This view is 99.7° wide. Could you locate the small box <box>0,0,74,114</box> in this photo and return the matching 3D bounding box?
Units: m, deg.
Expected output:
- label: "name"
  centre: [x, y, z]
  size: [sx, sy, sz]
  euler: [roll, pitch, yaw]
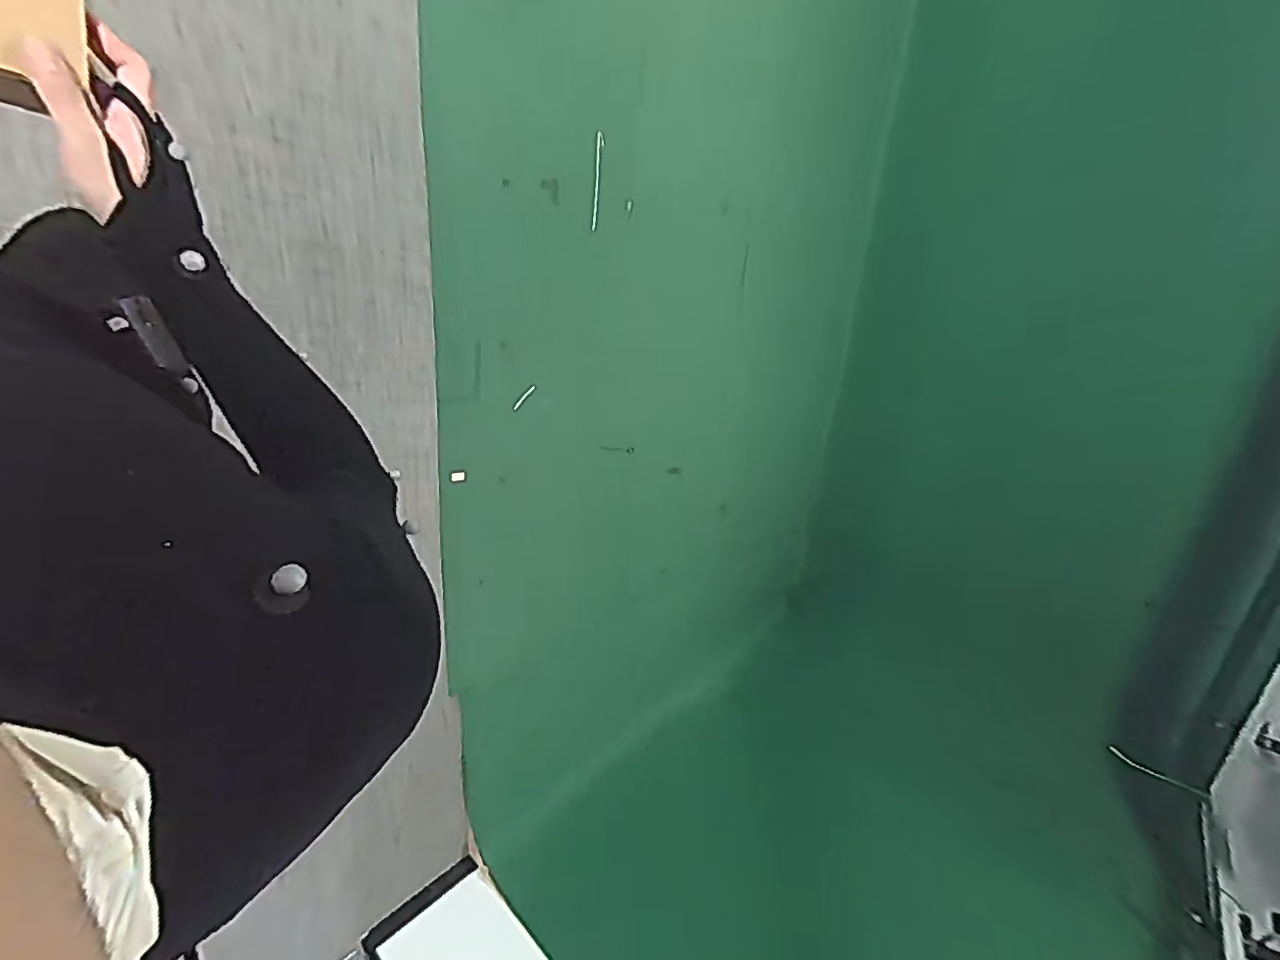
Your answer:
- label: "small box"
  centre: [-0.497, -0.377, 0.354]
  size: [0.168, 0.176, 0.179]
  euler: [-4, 111, -46]
